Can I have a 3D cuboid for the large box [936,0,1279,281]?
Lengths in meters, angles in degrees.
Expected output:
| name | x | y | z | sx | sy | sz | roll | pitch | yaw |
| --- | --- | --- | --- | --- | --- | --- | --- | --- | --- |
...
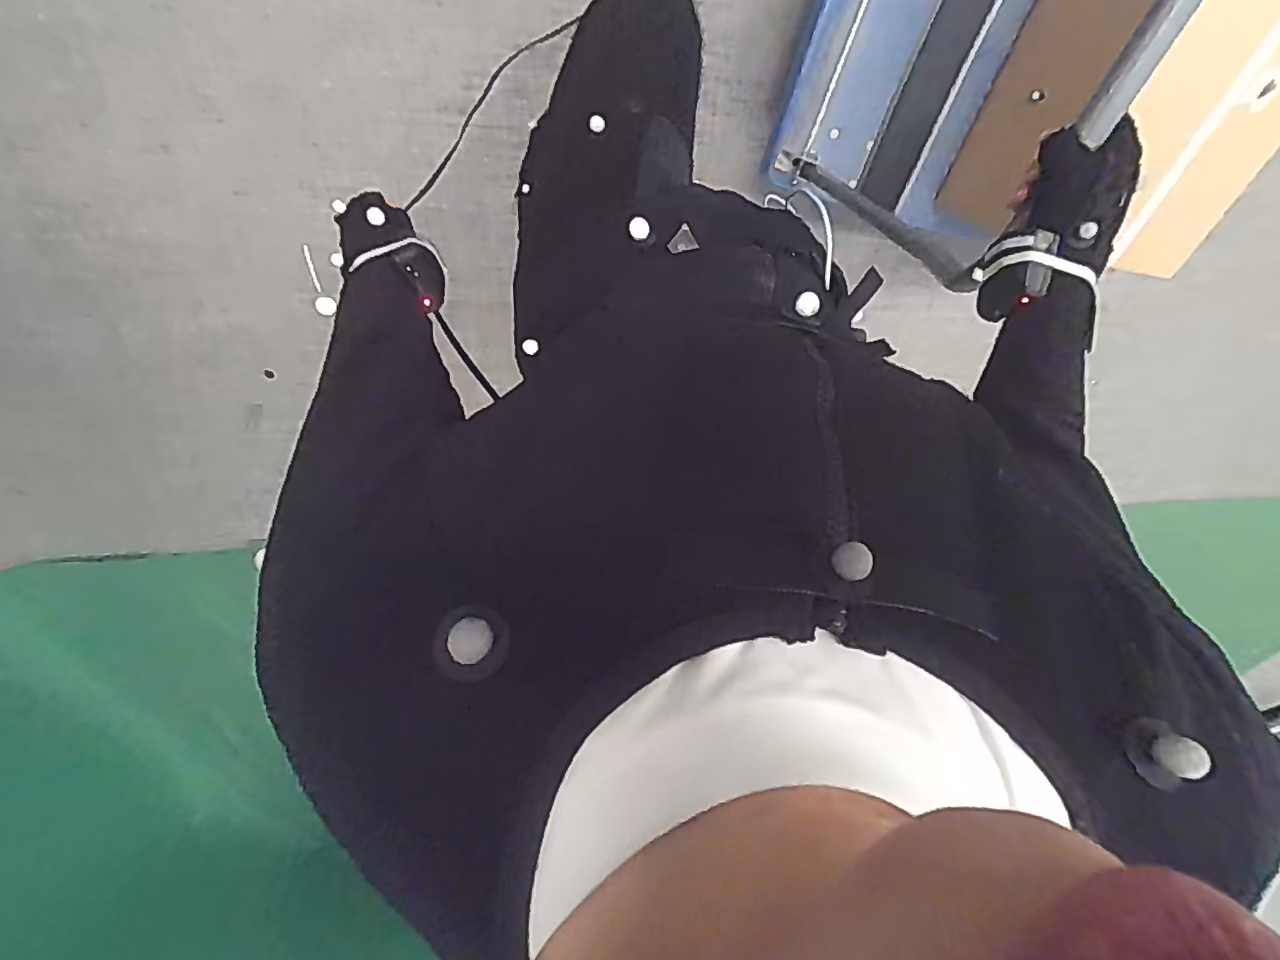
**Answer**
| name | x | y | z | sx | sy | sz | roll | pitch | yaw |
| --- | --- | --- | --- | --- | --- | --- | --- | --- | --- |
| large box | 0.811 | -0.611 | 0.934 | 0.320 | 0.320 | 0.408 | 4 | 128 | -12 |
